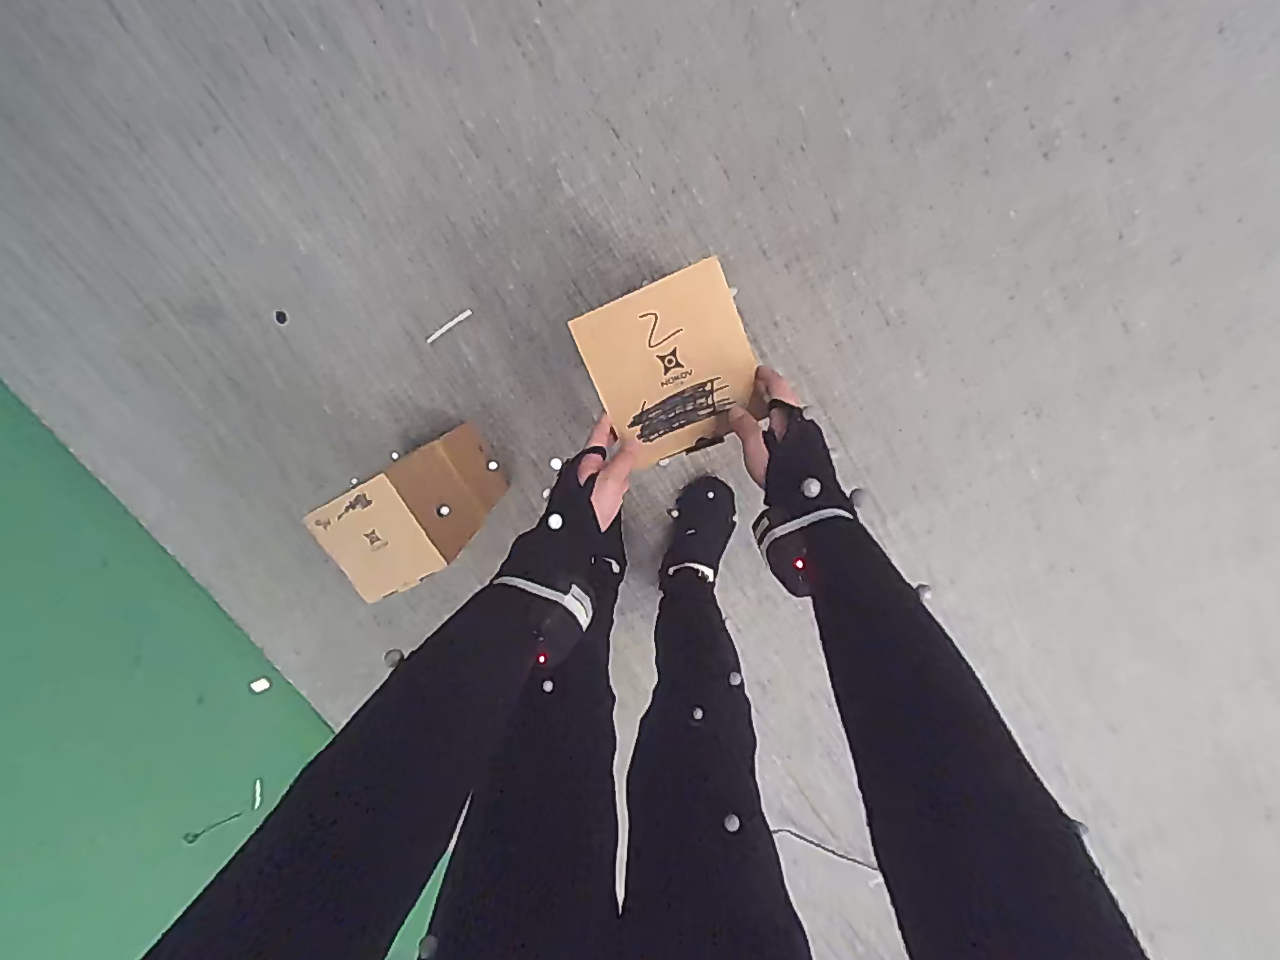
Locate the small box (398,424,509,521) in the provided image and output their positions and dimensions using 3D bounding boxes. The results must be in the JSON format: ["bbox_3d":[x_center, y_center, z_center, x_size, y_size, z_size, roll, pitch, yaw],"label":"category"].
[{"bbox_3d":[-0.388,0.010,1.063,0.179,0.176,0.168,-25,106,11],"label":"small box"}]

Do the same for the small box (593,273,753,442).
[{"bbox_3d":[0.047,-0.182,0.799,0.168,0.176,0.179,-24,106,10],"label":"small box"}]

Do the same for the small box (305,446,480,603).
[{"bbox_3d":[-0.400,0.068,0.910,0.168,0.176,0.179,-25,107,12],"label":"small box"}]
